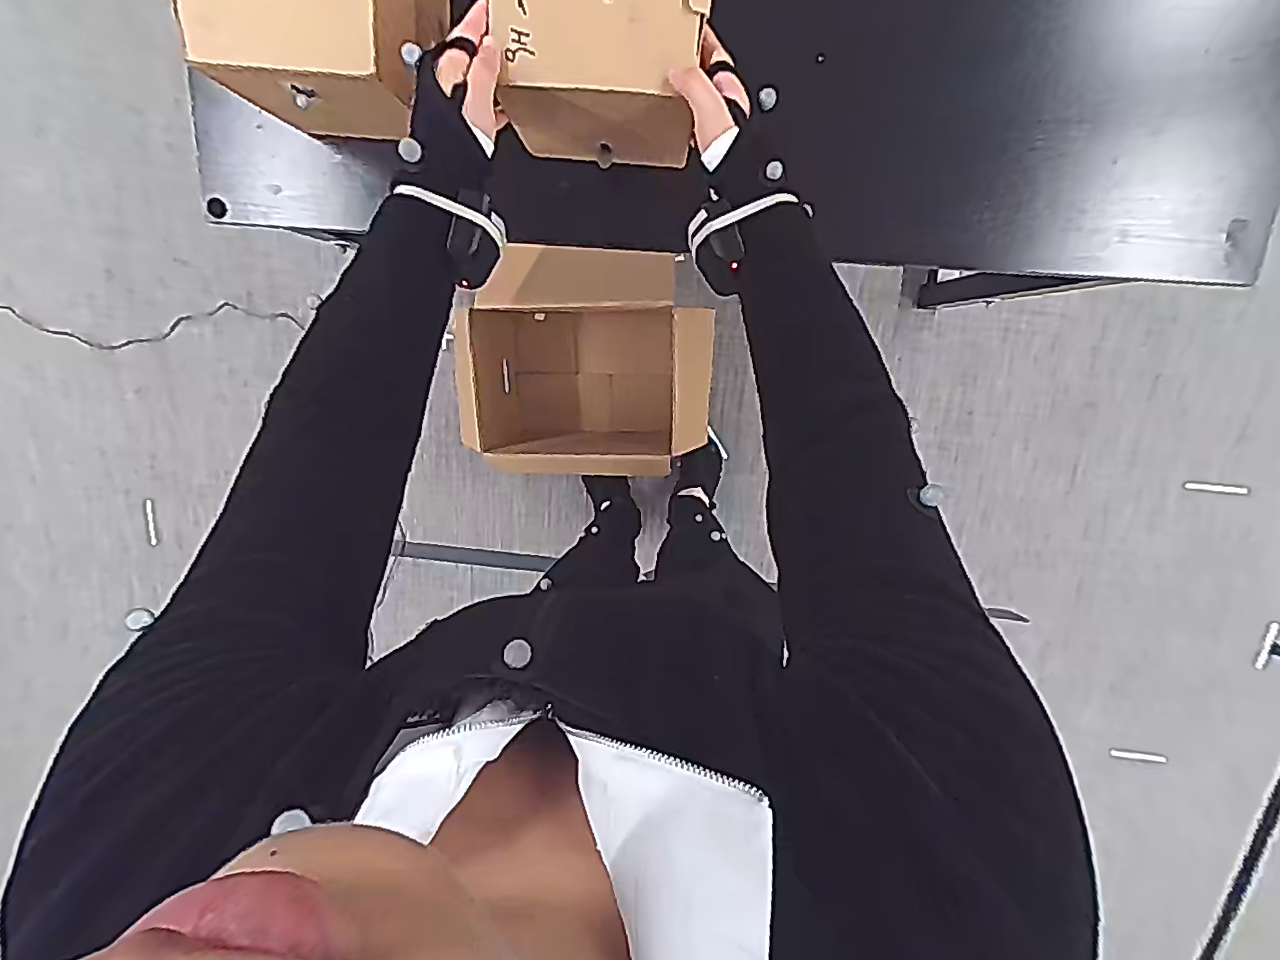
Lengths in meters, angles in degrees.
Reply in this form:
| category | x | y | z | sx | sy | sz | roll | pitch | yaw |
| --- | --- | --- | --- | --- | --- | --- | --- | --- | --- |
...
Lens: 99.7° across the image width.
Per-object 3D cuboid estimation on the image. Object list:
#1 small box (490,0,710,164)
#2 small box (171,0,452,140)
| category | x | y | z | sx | sy | sz | roll | pitch | yaw |
| --- | --- | --- | --- | --- | --- | --- | --- | --- | --- |
| small box | -0.030 | -0.415 | 0.504 | 0.179 | 0.176 | 0.168 | 5 | 103 | 0 |
| small box | -0.296 | -0.446 | 0.514 | 0.179 | 0.176 | 0.168 | 5 | 105 | 1 |
